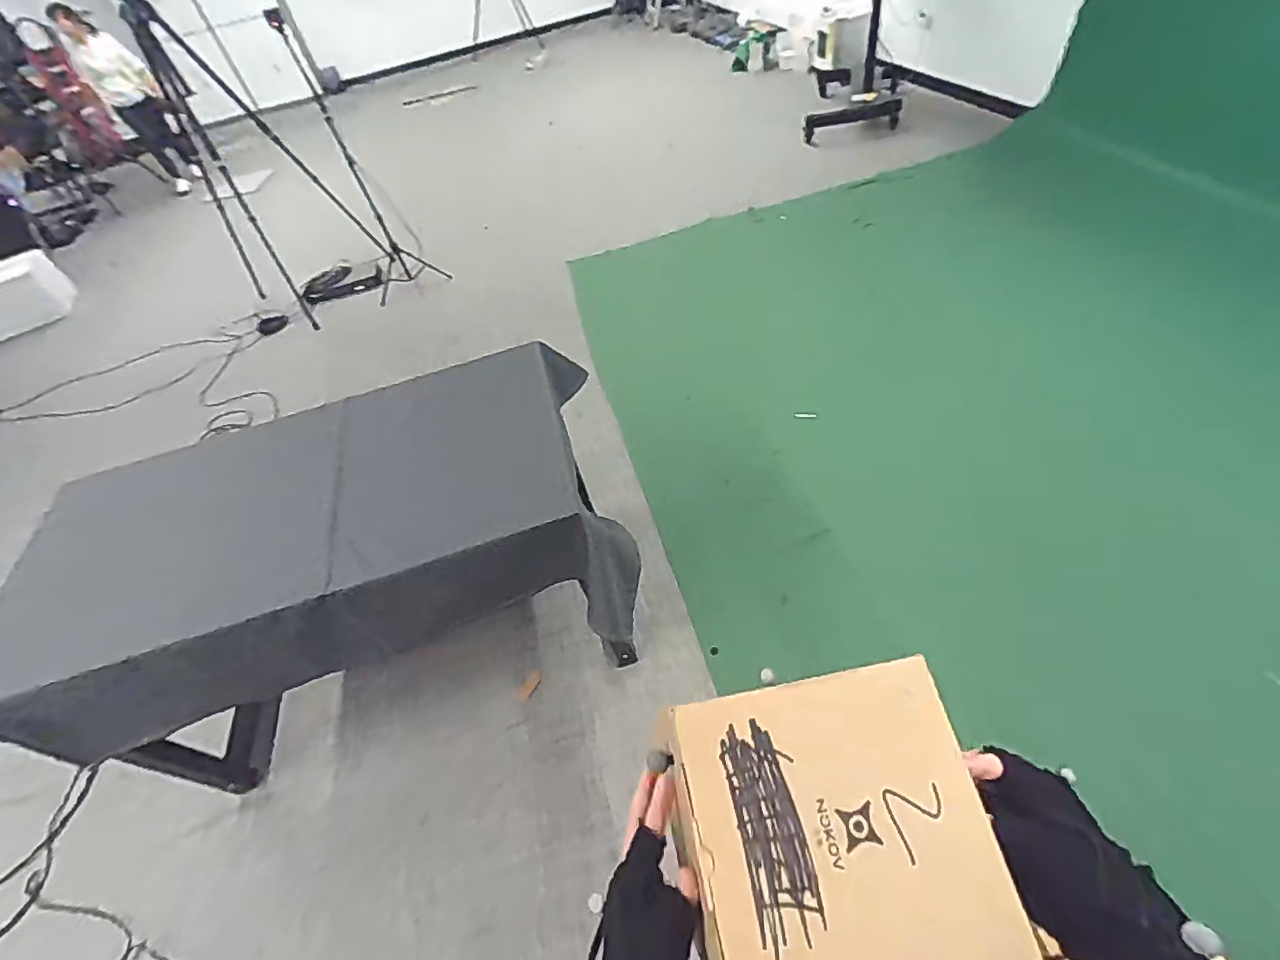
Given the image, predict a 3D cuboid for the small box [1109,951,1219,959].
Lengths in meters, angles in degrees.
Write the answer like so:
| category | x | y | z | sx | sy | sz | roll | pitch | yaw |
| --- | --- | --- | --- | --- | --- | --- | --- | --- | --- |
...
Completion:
| category | x | y | z | sx | sy | sz | roll | pitch | yaw |
| --- | --- | --- | --- | --- | --- | --- | --- | --- | --- |
| small box | 0.788 | 0.822 | 0.796 | 0.168 | 0.176 | 0.179 | -14 | 46 | 1 |
